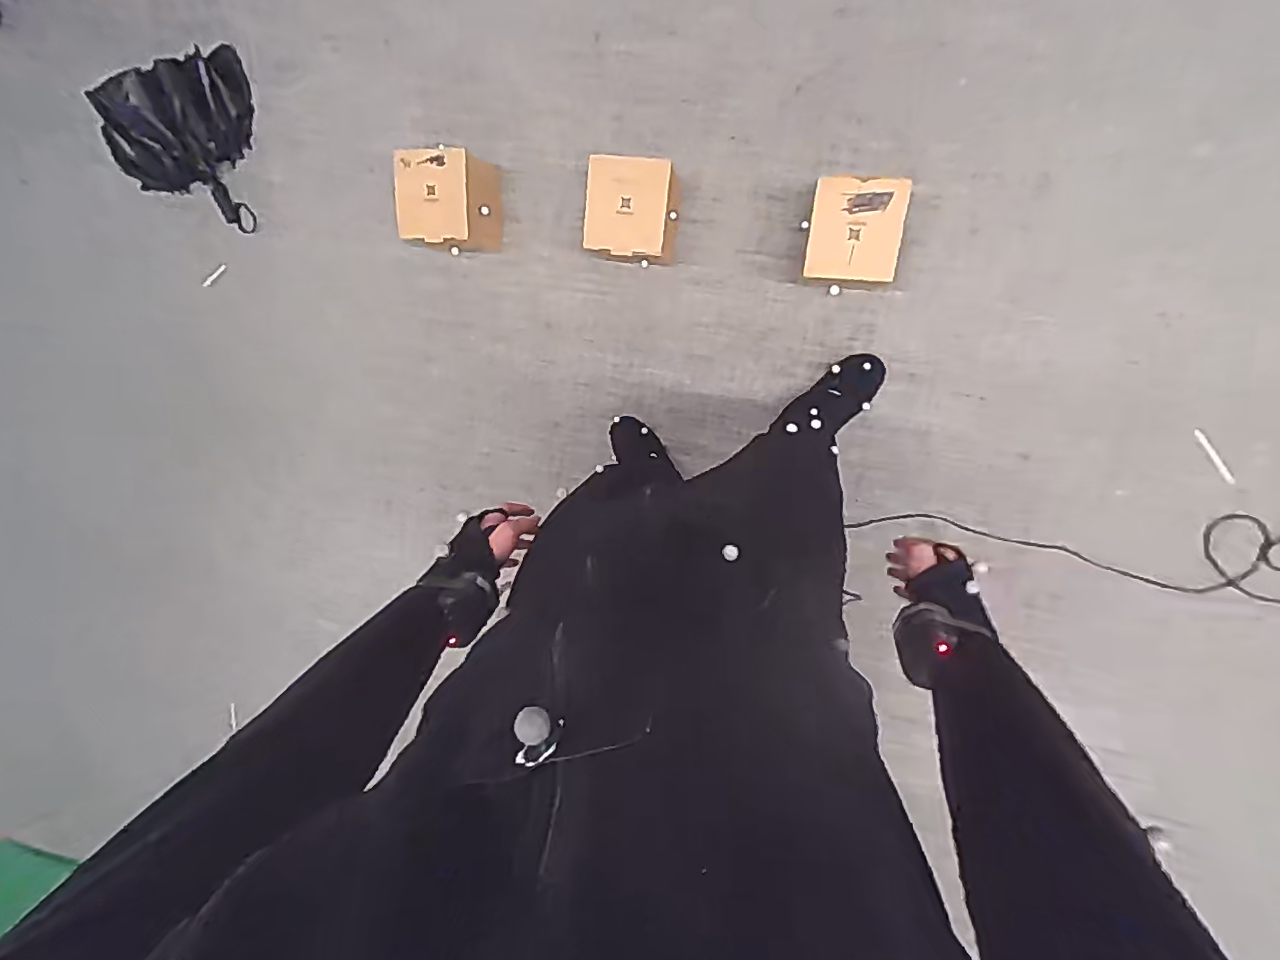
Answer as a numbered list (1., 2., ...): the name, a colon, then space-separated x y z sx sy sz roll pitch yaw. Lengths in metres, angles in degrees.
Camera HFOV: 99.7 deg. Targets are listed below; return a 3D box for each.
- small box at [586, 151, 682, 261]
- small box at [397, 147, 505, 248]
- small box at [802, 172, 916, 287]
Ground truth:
1. small box: -0.007 -0.567 1.141 0.168 0.176 0.179 8 105 8
2. small box: -0.414 -0.622 1.210 0.168 0.176 0.179 5 106 10
3. small box: 0.420 -0.487 1.067 0.168 0.176 0.179 8 106 11
